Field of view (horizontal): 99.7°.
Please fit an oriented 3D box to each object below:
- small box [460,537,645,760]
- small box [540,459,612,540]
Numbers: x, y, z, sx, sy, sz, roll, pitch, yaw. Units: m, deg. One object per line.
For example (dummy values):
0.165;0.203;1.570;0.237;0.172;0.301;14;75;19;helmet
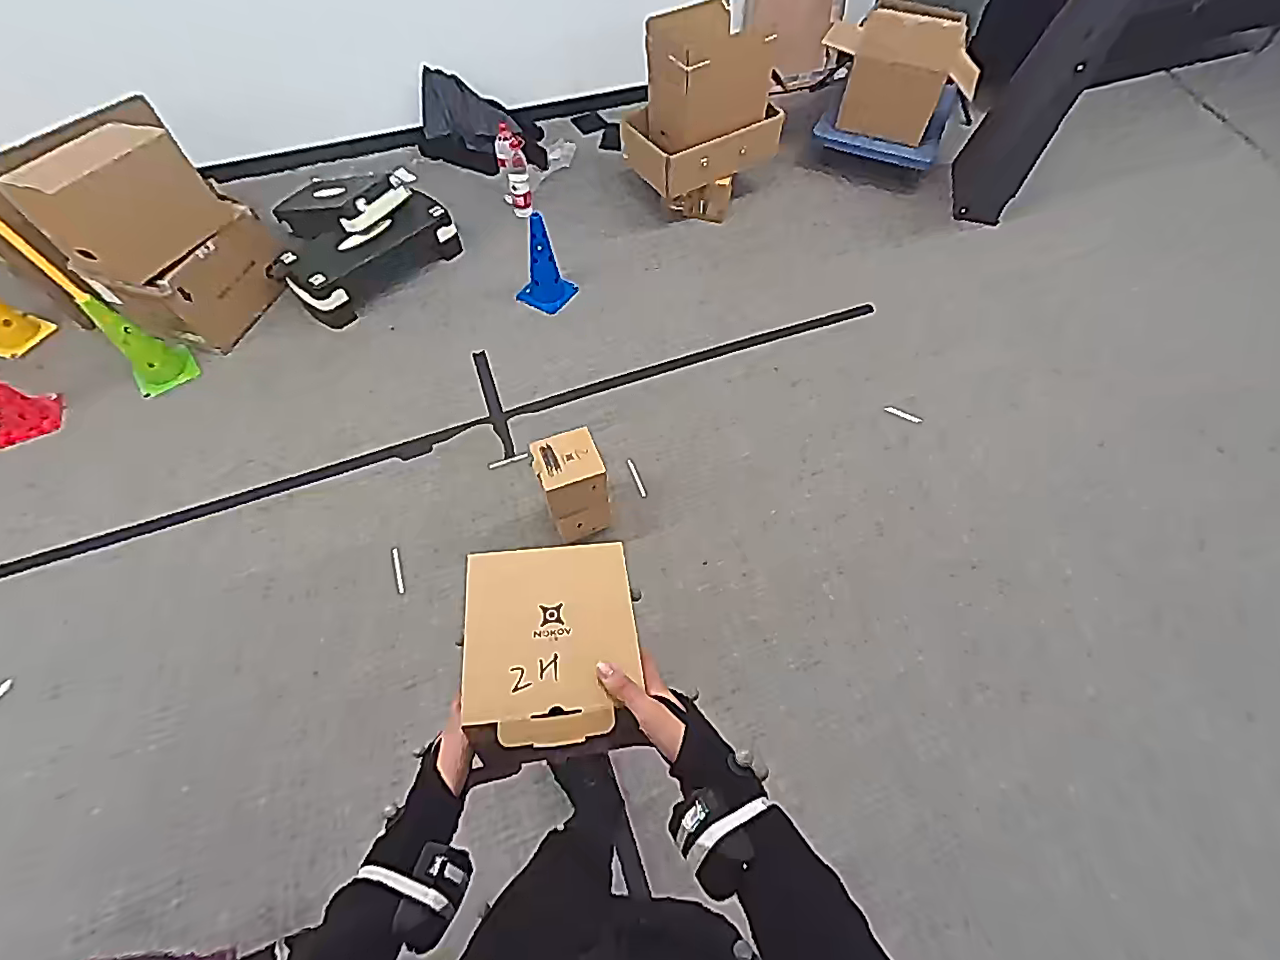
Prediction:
-0.094;0.183;0.588;0.168;0.176;0.179;-3;52;-9;small box
-0.194;0.069;1.685;0.168;0.176;0.179;-22;62;-13;small box
